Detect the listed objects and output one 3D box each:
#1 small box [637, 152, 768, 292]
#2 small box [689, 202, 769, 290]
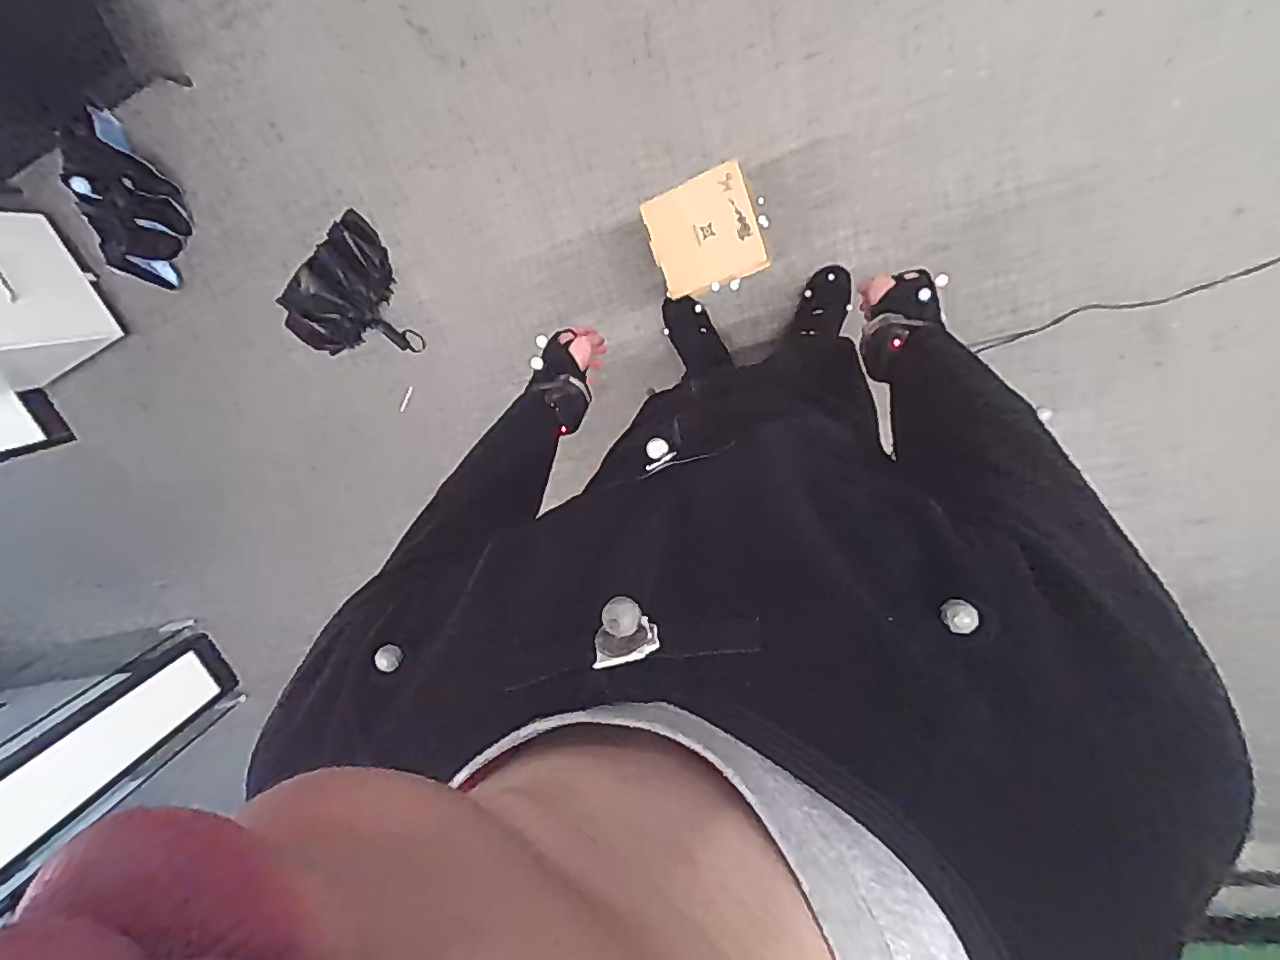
[{"bbox_3d":[0.121,-0.455,0.975,0.179,0.176,0.168,-16,108,22],"label":"small box"},{"bbox_3d":[0.165,-0.512,1.122,0.168,0.176,0.179,-16,108,21],"label":"small box"}]
